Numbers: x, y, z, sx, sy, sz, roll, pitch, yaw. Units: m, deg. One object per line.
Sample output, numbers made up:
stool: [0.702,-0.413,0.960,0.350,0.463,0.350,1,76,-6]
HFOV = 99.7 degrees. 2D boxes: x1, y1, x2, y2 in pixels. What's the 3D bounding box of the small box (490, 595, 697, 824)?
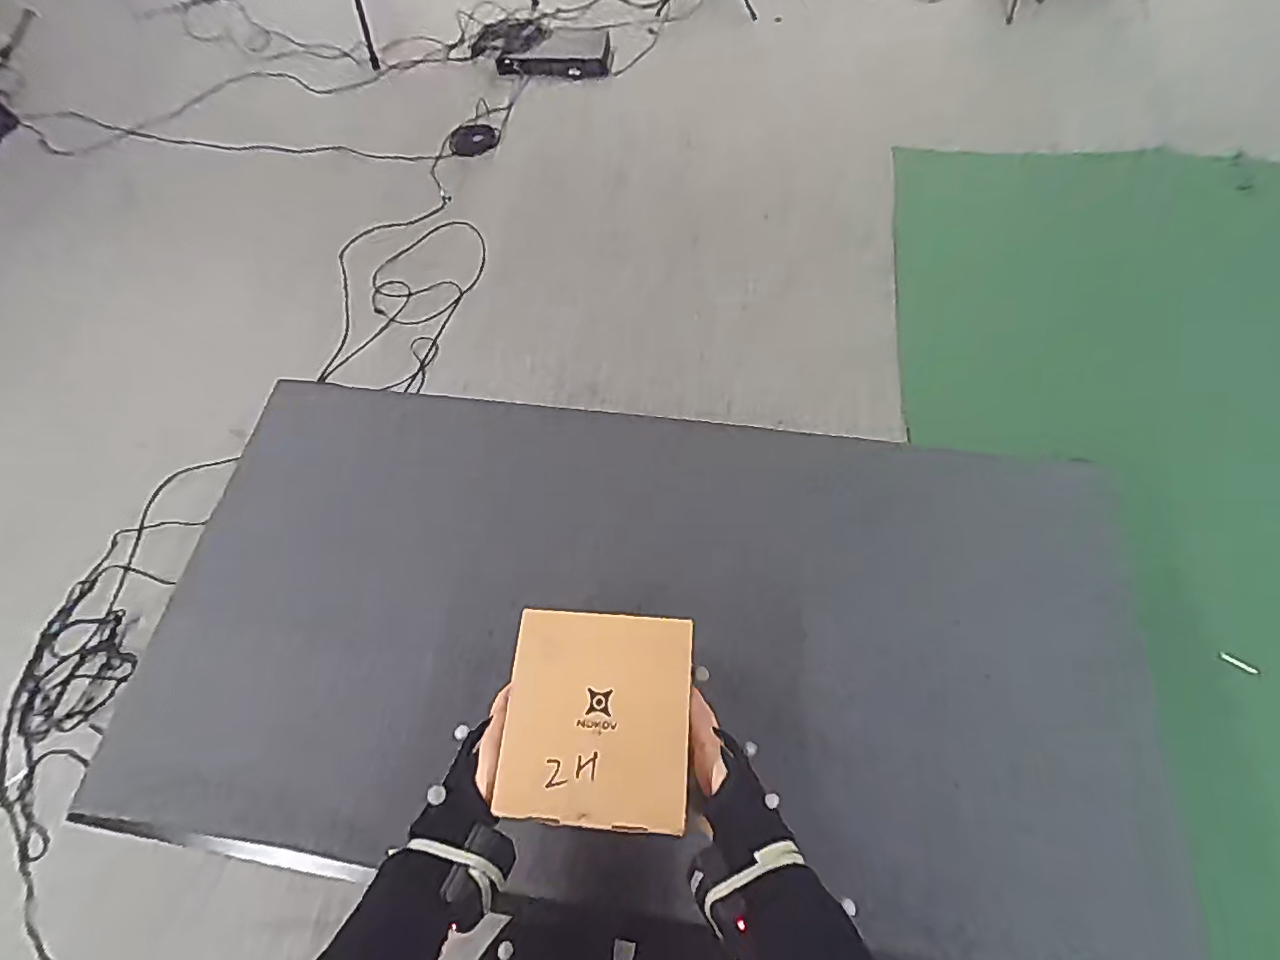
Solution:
small box: [-0.032,0.227,0.547,0.168,0.176,0.179,3,65,6]
